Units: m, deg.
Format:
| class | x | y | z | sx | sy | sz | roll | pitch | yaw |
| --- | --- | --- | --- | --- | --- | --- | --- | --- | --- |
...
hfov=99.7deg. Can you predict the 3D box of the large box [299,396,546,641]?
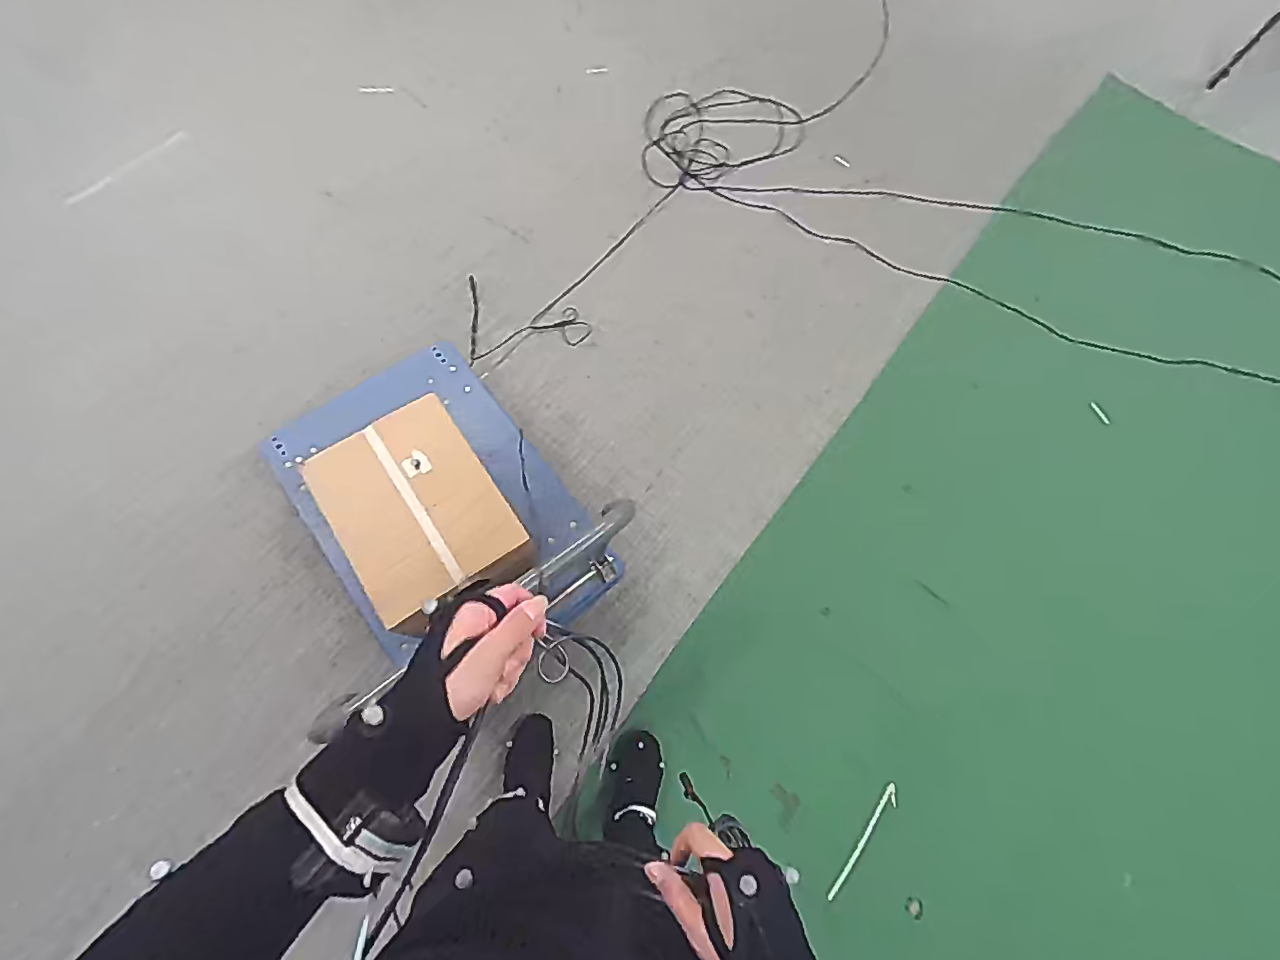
| class | x | y | z | sx | sy | sz | roll | pitch | yaw |
| --- | --- | --- | --- | --- | --- | --- | --- | --- | --- |
| large box | -0.460 | 0.101 | 1.220 | 0.320 | 0.320 | 0.408 | -33 | 75 | -15 |
